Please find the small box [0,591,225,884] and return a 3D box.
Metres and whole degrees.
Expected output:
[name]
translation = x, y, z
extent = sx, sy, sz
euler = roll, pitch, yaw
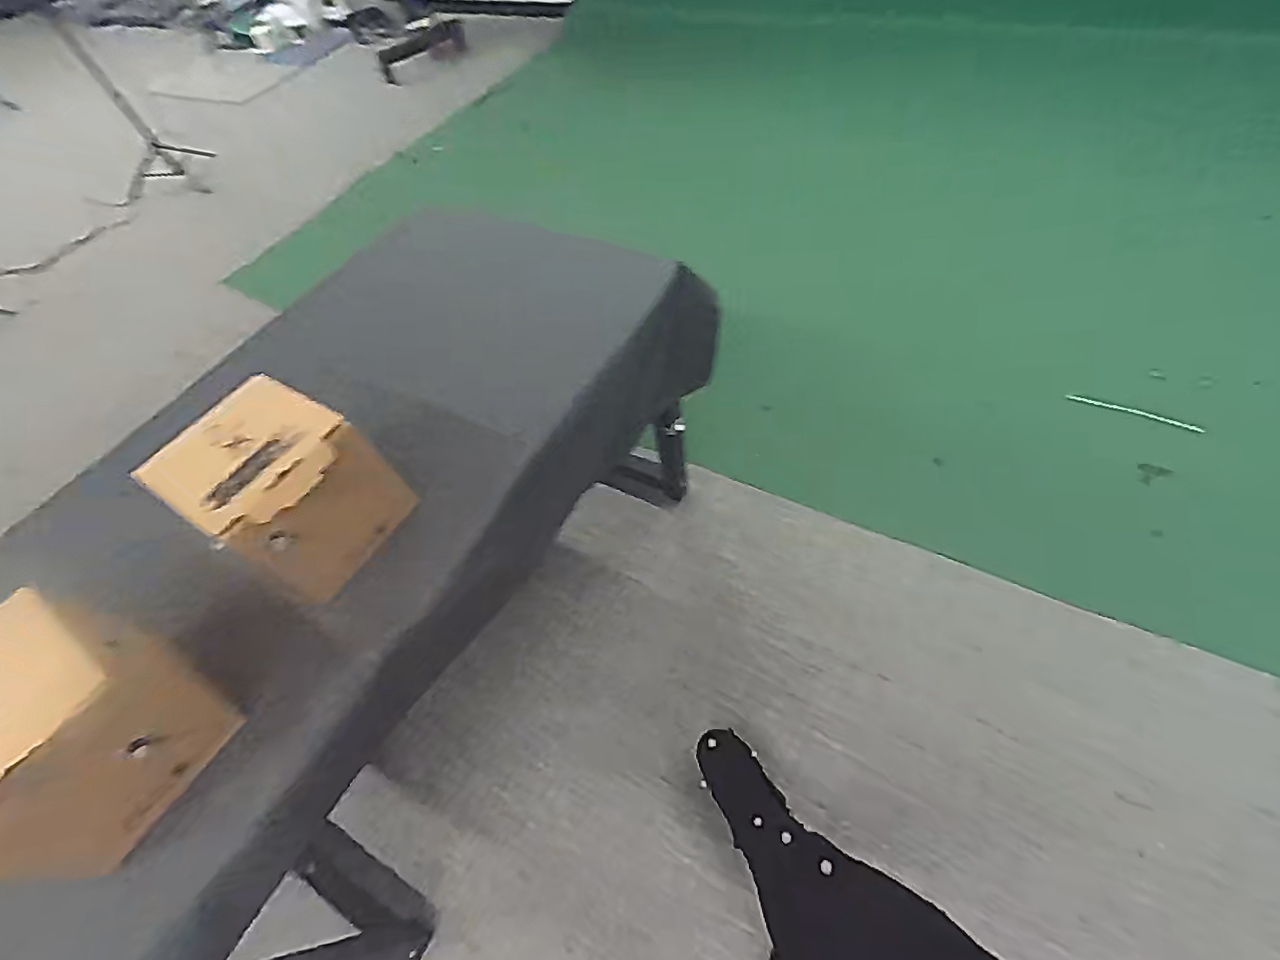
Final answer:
[small box]
translation = -0.548, 0.238, 0.501
extent = 0.179, 0.176, 0.168
euler = 23, 61, 23
